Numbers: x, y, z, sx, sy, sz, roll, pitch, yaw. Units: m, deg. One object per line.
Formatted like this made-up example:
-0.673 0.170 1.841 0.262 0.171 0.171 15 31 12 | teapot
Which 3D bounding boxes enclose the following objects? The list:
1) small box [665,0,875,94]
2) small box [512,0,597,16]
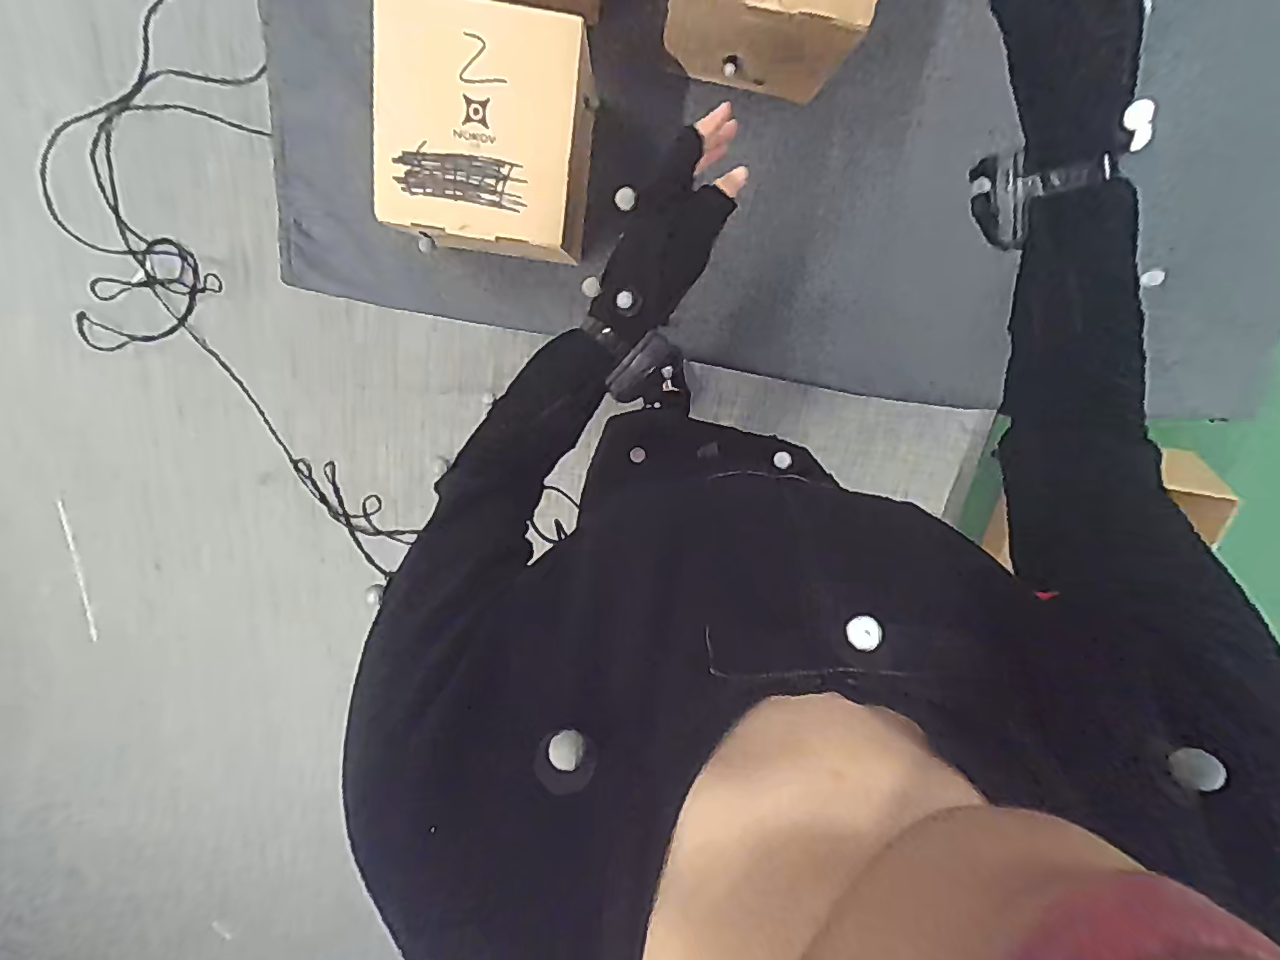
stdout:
0.118 -0.485 0.480 0.168 0.176 0.179 9 109 -4 | small box
-0.114 -0.542 0.458 0.168 0.176 0.179 6 108 -3 | small box
